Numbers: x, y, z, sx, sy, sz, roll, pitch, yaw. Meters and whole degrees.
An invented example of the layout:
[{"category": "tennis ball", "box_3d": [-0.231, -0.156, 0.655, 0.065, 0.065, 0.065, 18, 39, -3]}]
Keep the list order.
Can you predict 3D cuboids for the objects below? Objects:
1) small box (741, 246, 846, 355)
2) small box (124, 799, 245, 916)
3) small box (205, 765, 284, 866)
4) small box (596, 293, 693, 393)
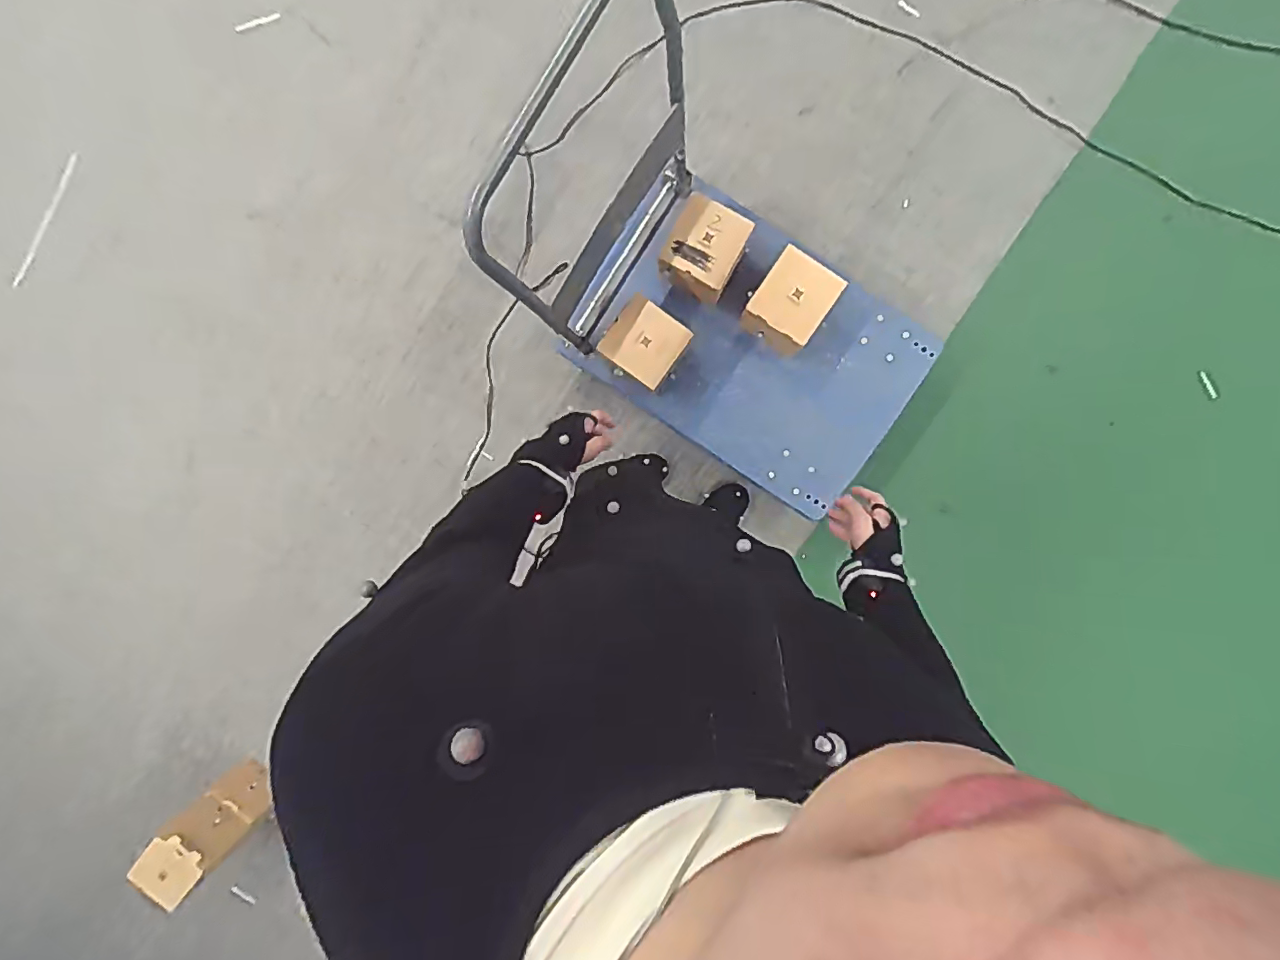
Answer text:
[{"category": "small box", "box_3d": [0.366, -0.432, 1.330, 0.168, 0.176, 0.179, 34, 97, 0]}, {"category": "small box", "box_3d": [-1.290, 1.072, 1.547, 0.168, 0.176, 0.179, 40, 95, -2]}, {"category": "small box", "box_3d": [-1.275, 1.050, 1.710, 0.168, 0.176, 0.179, 36, 95, 0]}, {"category": "small box", "box_3d": [0.014, -0.333, 1.356, 0.179, 0.176, 0.168, 36, 96, 0]}]
